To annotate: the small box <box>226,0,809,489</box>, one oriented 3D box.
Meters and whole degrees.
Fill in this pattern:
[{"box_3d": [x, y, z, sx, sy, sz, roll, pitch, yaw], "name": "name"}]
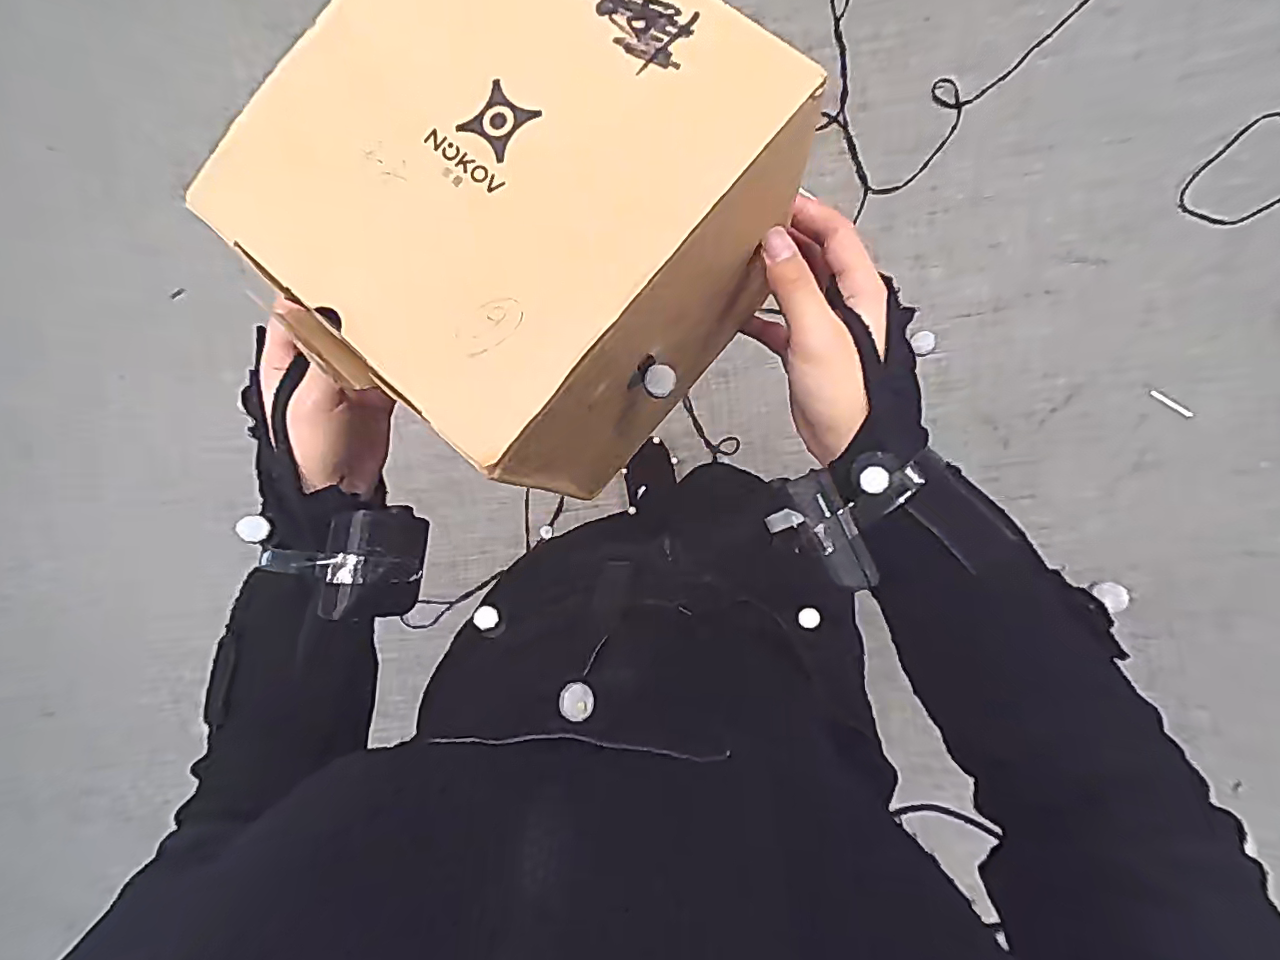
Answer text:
[{"box_3d": [-0.042, -0.110, 0.281, 0.168, 0.176, 0.179, 41, 91, 9], "name": "small box"}]
